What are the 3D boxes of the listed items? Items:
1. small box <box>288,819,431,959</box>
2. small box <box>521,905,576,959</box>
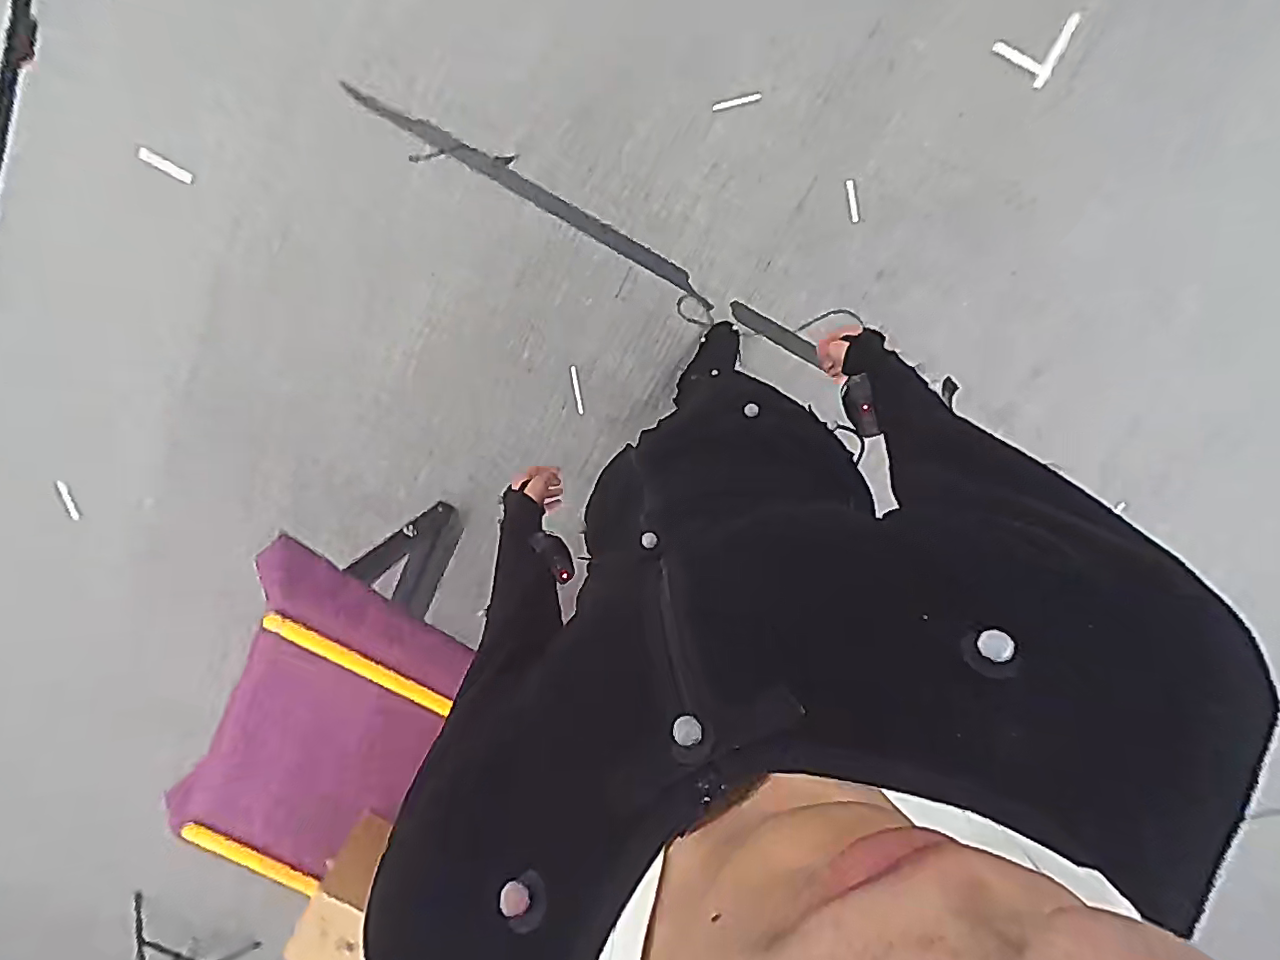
[{"bbox_3d":[-0.491,0.777,1.000,0.179,0.176,0.168,28,101,-4],"label":"small box"},{"bbox_3d":[-0.144,0.976,1.035,0.168,0.176,0.179,26,102,-5],"label":"small box"}]
